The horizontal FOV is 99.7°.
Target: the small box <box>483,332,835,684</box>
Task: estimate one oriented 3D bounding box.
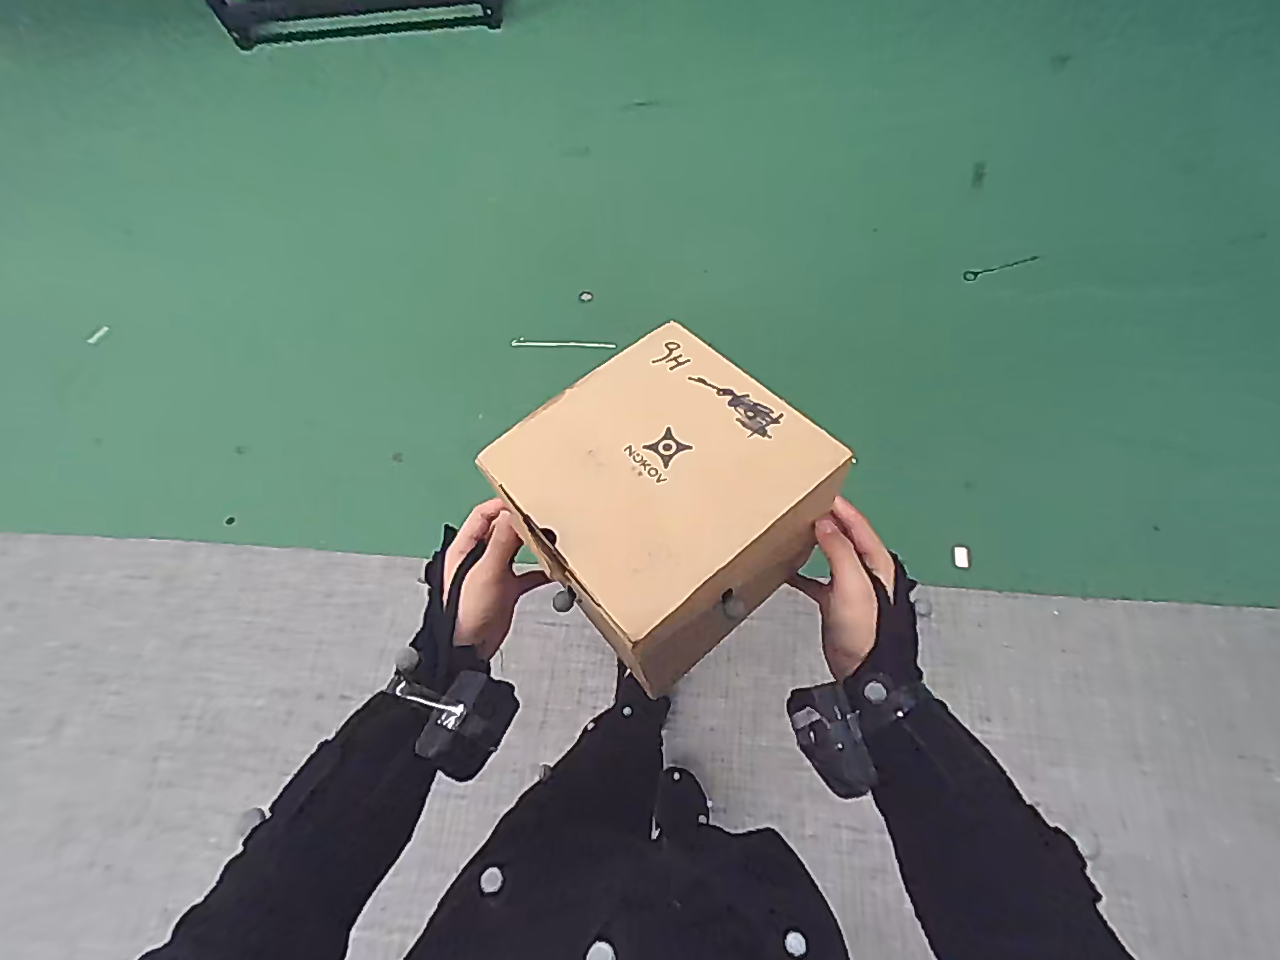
[{"bbox_3d":[0.018,0.030,0.418,0.179,0.176,0.168,-38,62,-15],"label":"small box"}]
